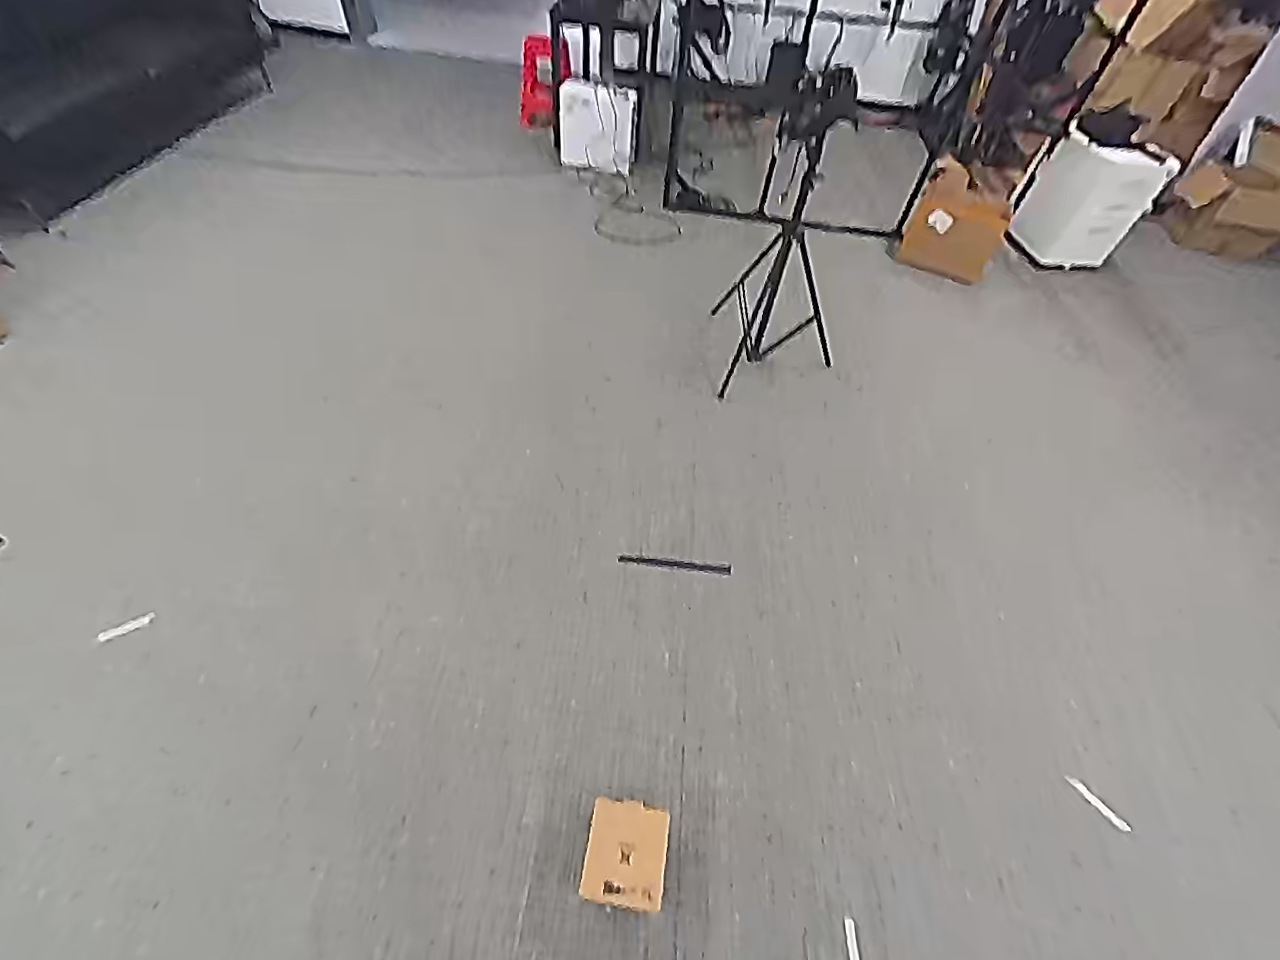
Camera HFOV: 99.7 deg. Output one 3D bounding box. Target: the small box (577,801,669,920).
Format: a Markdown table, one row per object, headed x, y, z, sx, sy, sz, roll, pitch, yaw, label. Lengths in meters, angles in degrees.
| x | y | z | sx | sy | sz | roll | pitch | yaw | label |
| --- | --- | --- | --- | --- | --- | --- | --- | --- | --- |
| -0.039 | 0.824 | 1.169 | 0.168 | 0.176 | 0.179 | 10 | 50 | 2 | small box |
